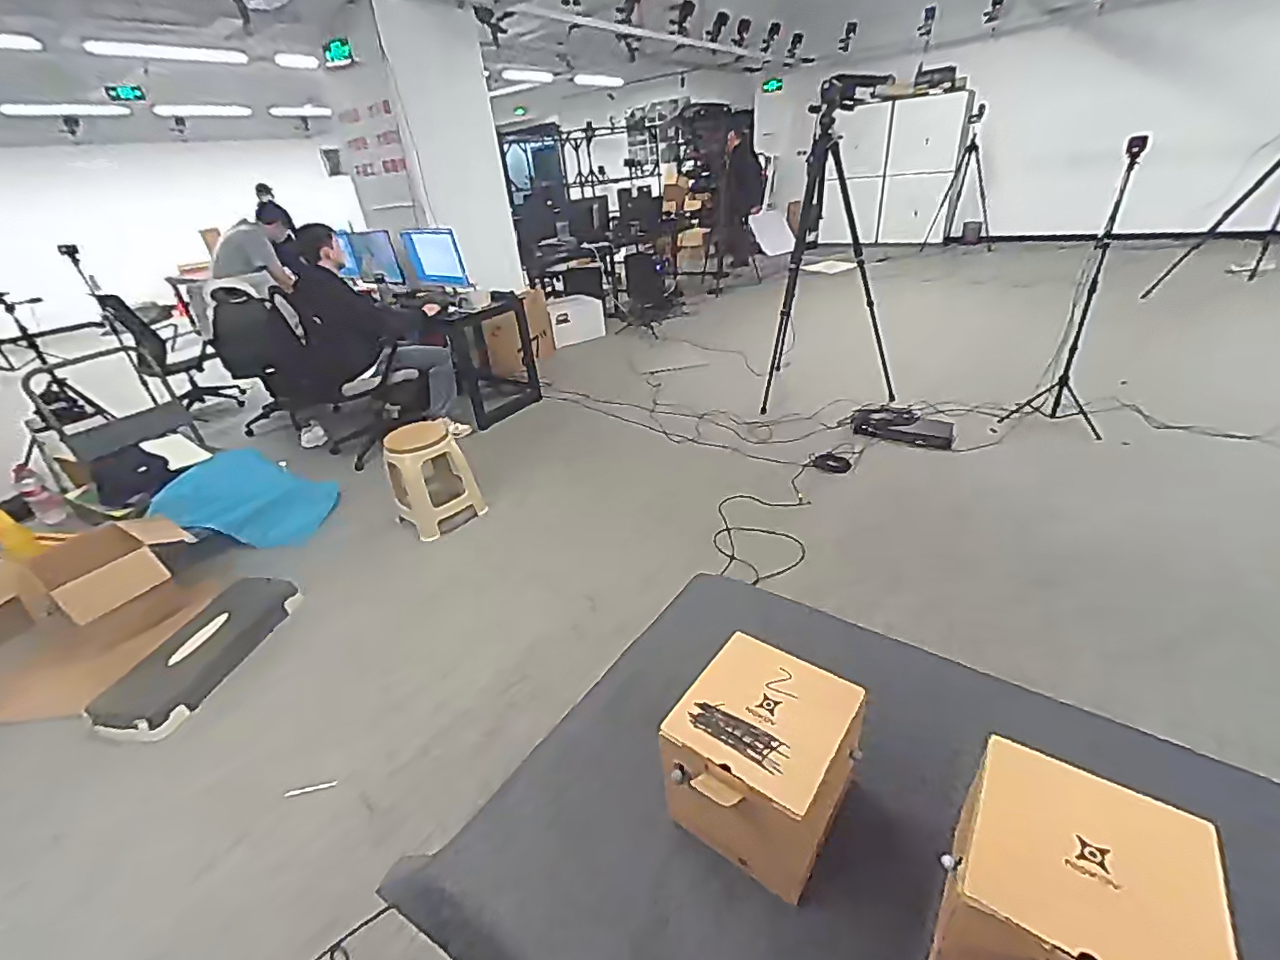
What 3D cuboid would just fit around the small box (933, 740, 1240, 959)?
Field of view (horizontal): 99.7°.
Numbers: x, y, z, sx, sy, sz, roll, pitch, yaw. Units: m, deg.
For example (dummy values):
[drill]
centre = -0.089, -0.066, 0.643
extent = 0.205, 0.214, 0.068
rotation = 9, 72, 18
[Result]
[small box]
centre = 0.376, 0.385, 0.479
extent = 0.168, 0.176, 0.179
rotation = 15, 35, 33
